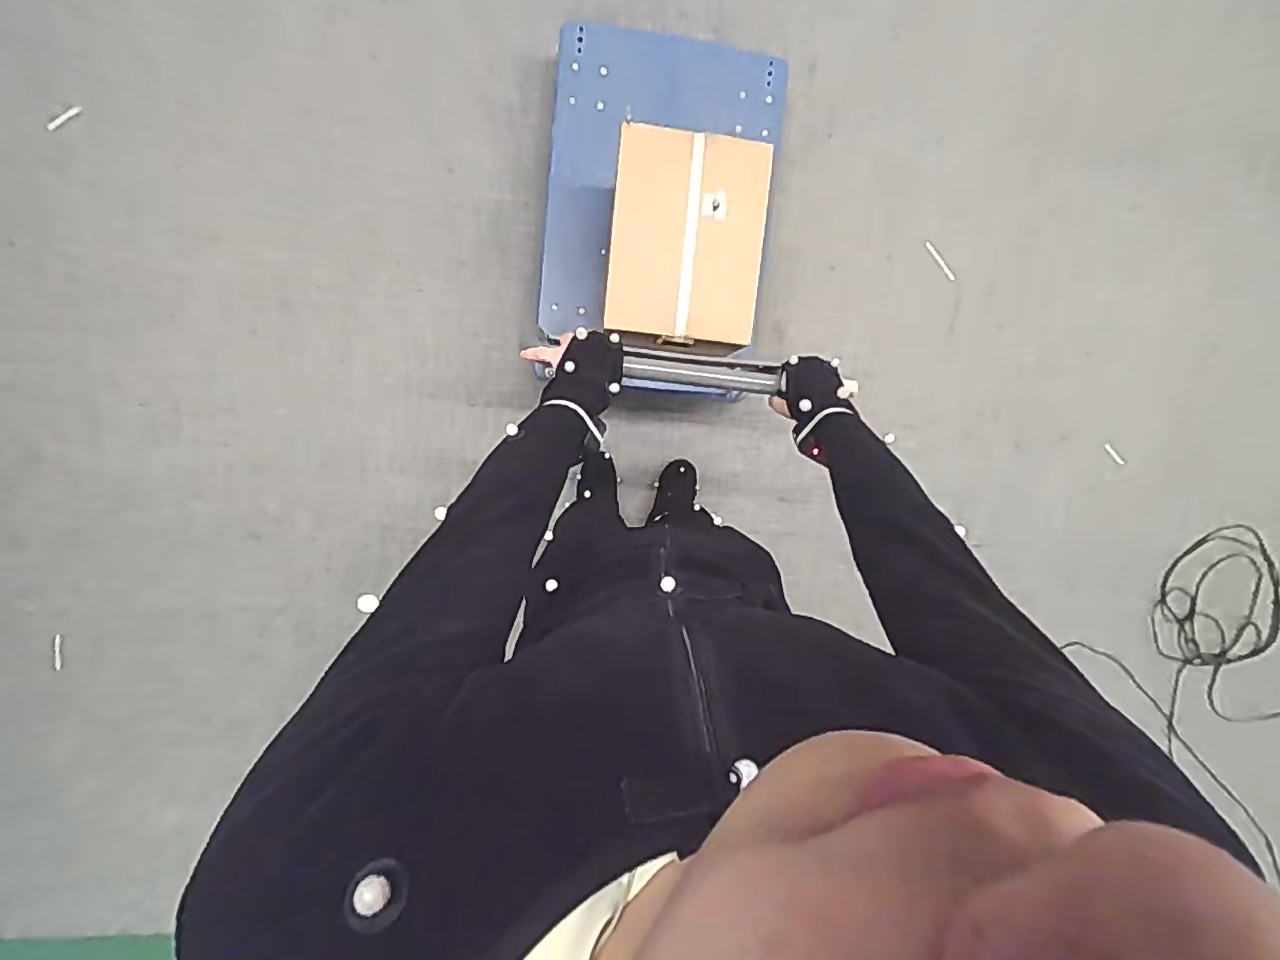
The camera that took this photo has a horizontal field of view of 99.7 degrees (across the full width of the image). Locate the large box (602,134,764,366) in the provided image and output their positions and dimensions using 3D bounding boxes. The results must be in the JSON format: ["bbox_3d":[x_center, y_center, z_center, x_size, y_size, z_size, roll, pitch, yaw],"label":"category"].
[{"bbox_3d":[0.076,-0.494,1.255,0.320,0.320,0.408,5,94,-7],"label":"large box"}]
